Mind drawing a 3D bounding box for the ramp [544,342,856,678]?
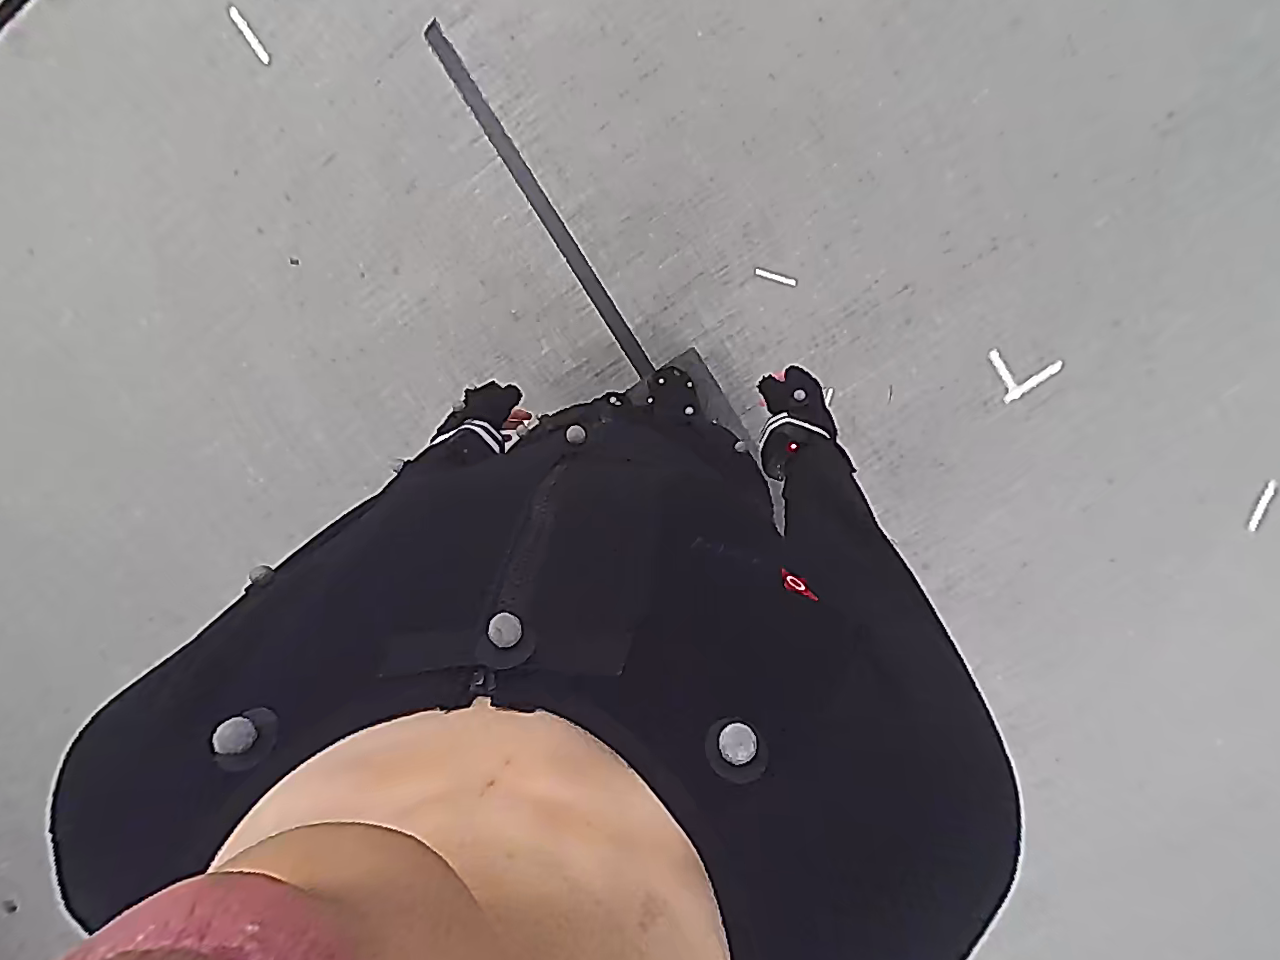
[{"bbox_3d":[0.214,0.144,1.588,0.509,0.206,0.991,-35,99,8],"label":"ramp"}]
